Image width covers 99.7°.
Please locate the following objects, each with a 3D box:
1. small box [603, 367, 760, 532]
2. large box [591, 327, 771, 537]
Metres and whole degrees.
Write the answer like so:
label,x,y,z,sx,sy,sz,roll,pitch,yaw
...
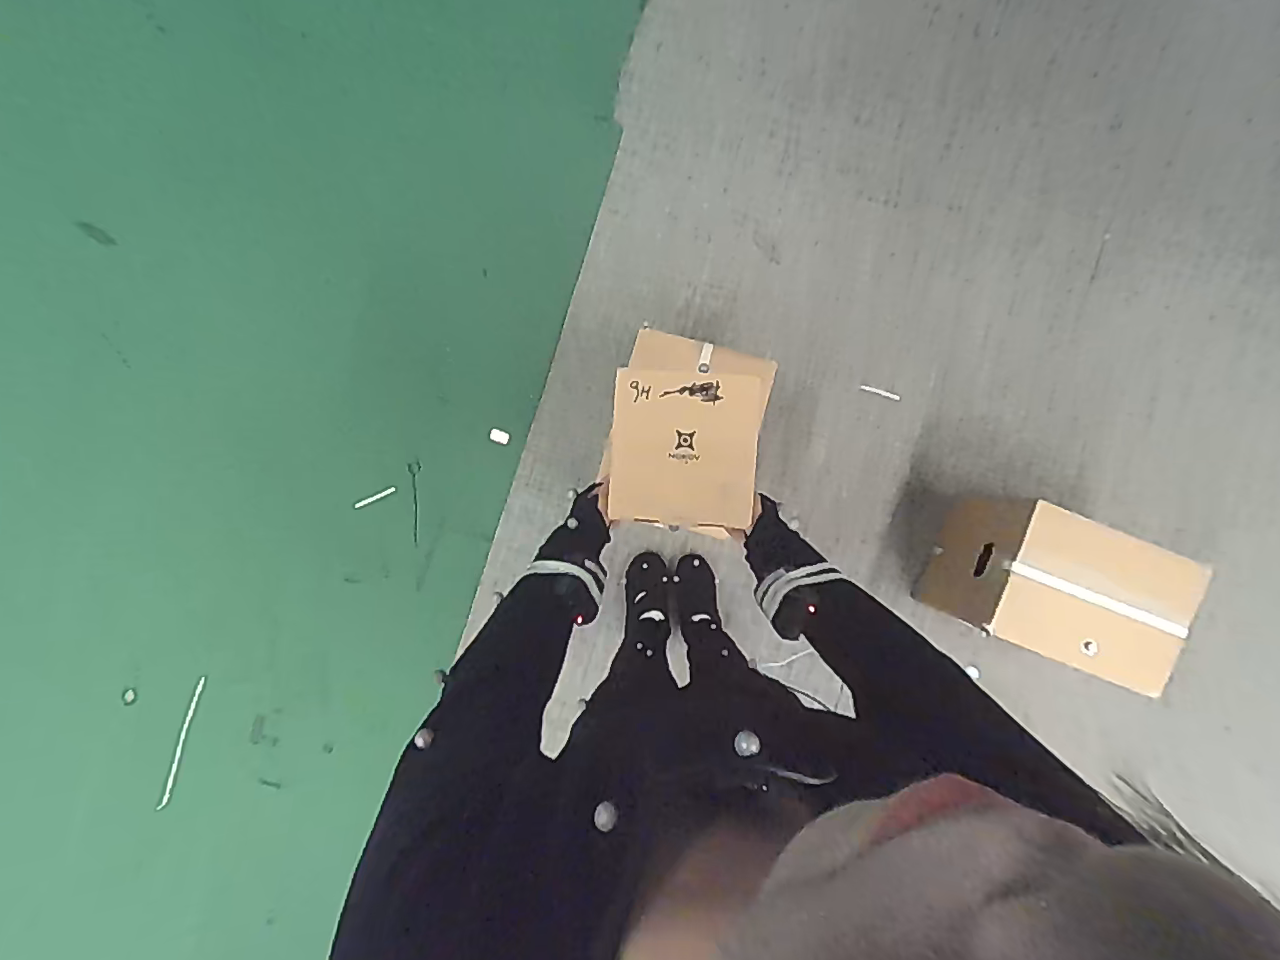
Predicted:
label,x,y,z,sx,sy,sz,roll,pitch,yaw
small box,0.049,-0.036,0.688,0.168,0.176,0.179,5,91,1
large box,0.091,-0.099,1.317,0.320,0.320,0.408,16,89,0
